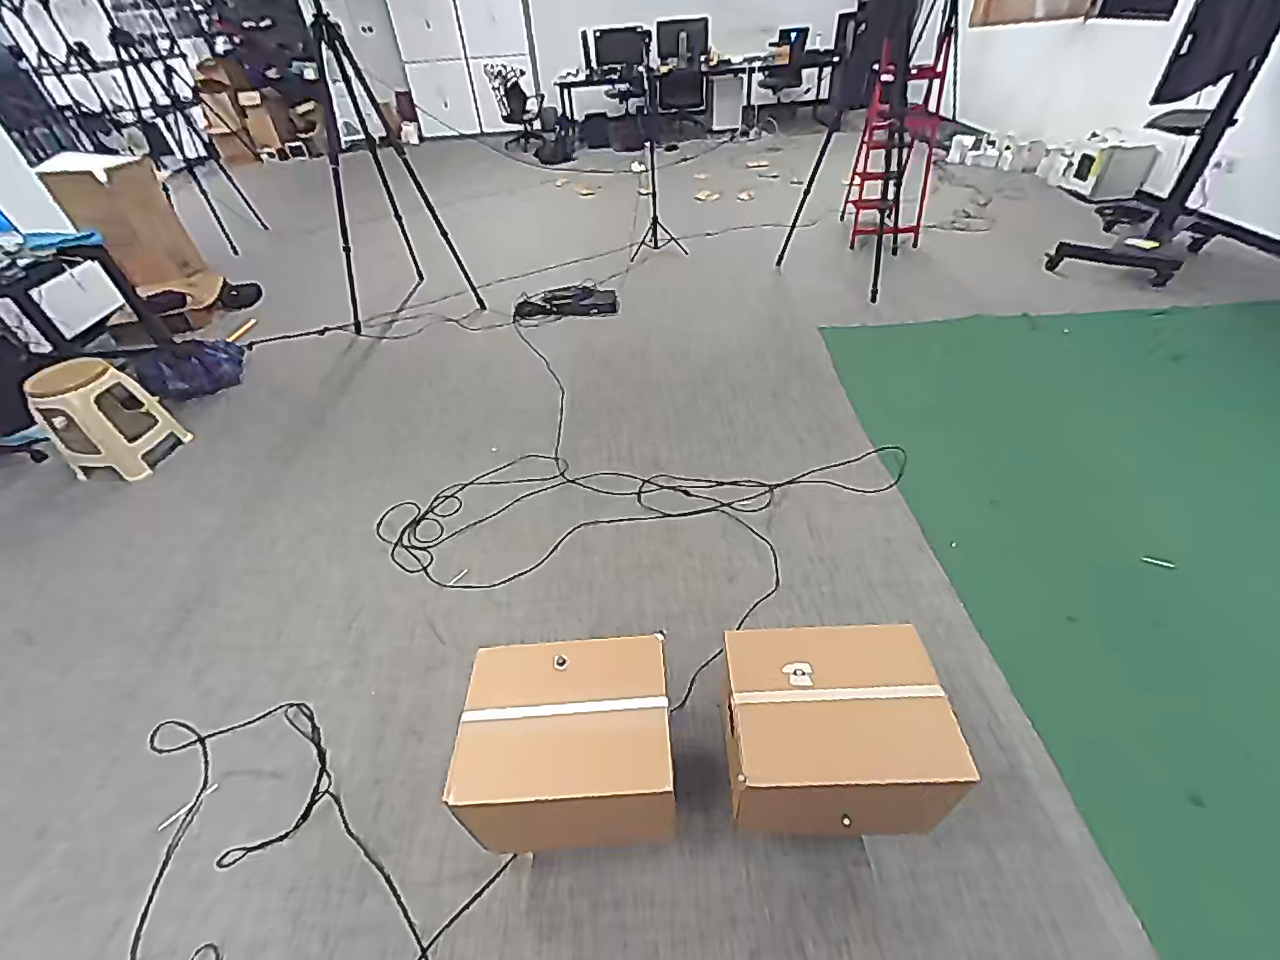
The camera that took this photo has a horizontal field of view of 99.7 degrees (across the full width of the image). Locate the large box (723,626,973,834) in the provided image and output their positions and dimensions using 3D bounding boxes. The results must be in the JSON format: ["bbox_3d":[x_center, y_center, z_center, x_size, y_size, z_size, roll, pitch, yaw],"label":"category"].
[{"bbox_3d":[0.398,0.538,1.158,0.408,0.320,0.320,-3,42,3],"label":"large box"}]
